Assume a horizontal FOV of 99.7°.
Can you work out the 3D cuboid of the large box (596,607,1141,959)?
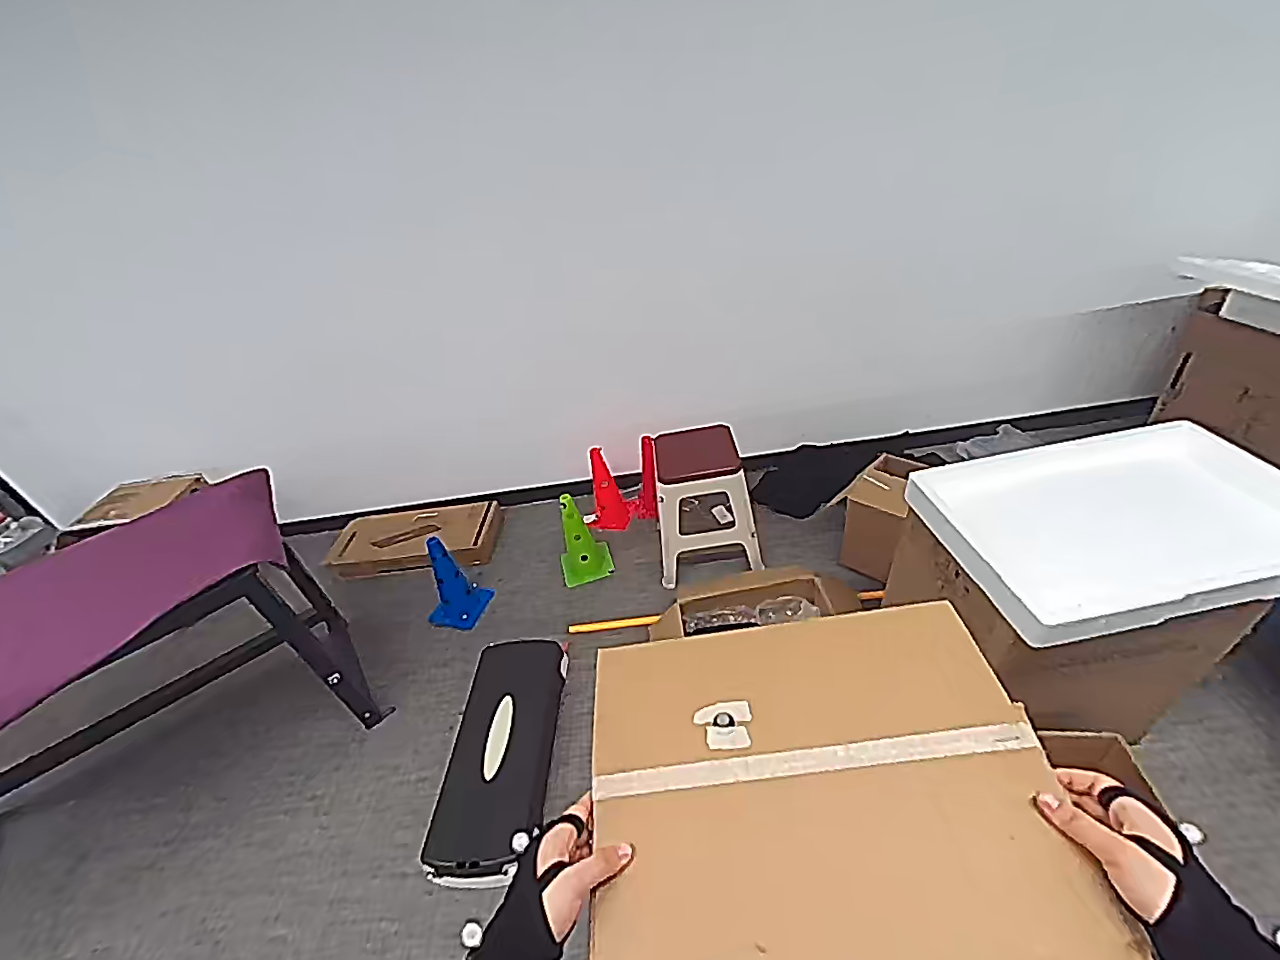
[{"bbox_3d":[0.187,0.389,0.602,0.408,0.320,0.320,-11,37,7],"label":"large box"}]
